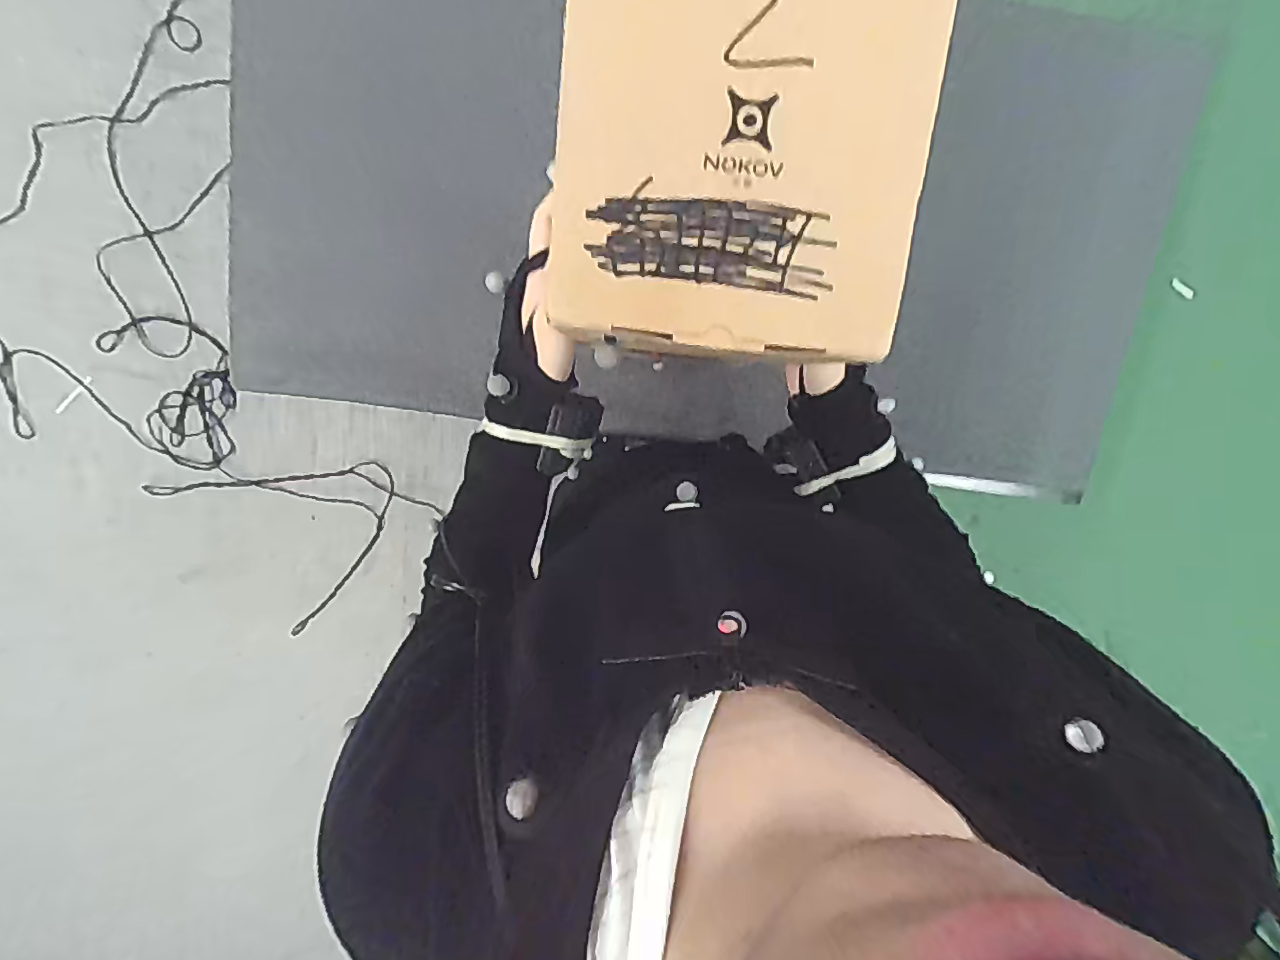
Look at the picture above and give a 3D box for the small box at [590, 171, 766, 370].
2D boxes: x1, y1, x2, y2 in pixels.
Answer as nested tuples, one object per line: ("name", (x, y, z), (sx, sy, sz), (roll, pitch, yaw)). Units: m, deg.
("small box", (0.036, -0.228, 0.633), (0.168, 0.176, 0.179), (6, 100, -1))
